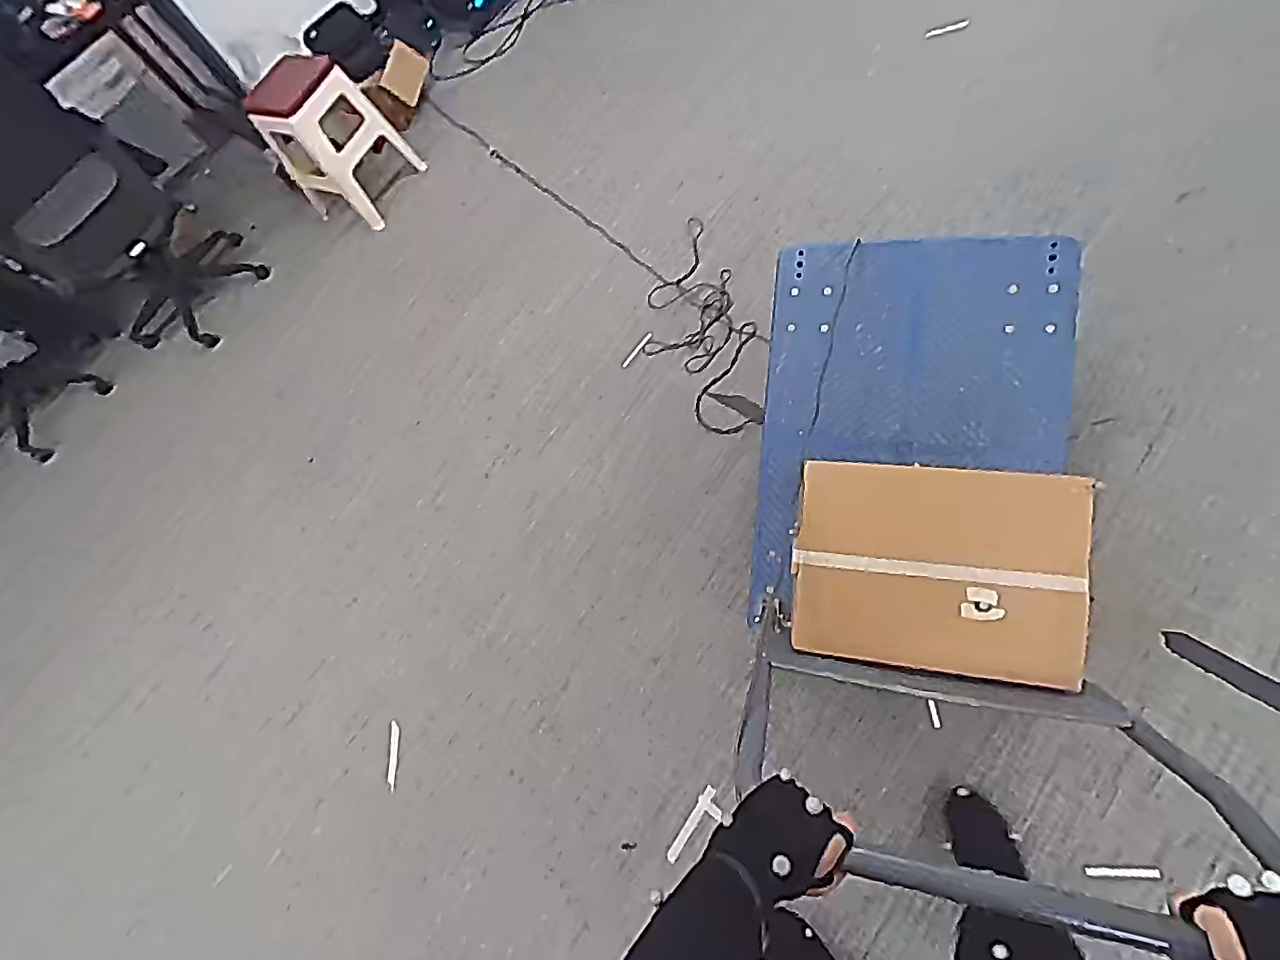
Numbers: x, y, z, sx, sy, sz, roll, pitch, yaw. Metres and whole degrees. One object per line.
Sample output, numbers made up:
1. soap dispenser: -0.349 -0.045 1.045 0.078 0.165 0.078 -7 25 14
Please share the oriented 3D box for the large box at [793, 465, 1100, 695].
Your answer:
1. large box: 0.489 0.147 0.959 0.408 0.320 0.320 5 90 15
